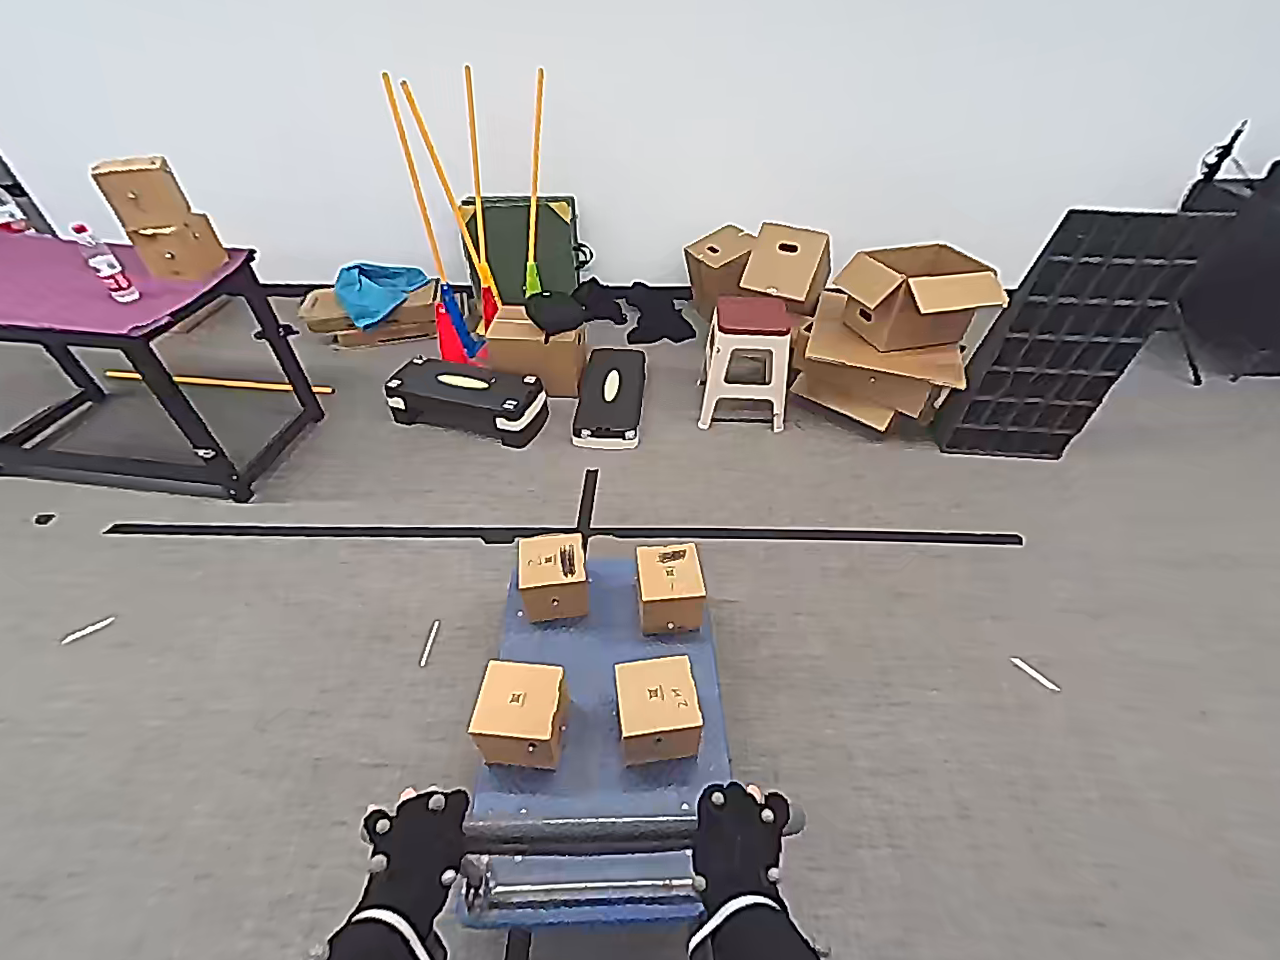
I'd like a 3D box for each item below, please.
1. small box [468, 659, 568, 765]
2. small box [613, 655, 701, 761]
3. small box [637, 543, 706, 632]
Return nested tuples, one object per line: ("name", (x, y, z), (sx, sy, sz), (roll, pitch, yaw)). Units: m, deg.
("small box", (-0.269, 0.531, 1.234), (0.179, 0.176, 0.168), (5, 43, 2))
("small box", (0.036, 0.525, 1.240), (0.179, 0.176, 0.168), (-5, 44, -5))
("small box", (0.079, 0.294, 1.482), (0.168, 0.176, 0.179), (-4, 45, -4))
